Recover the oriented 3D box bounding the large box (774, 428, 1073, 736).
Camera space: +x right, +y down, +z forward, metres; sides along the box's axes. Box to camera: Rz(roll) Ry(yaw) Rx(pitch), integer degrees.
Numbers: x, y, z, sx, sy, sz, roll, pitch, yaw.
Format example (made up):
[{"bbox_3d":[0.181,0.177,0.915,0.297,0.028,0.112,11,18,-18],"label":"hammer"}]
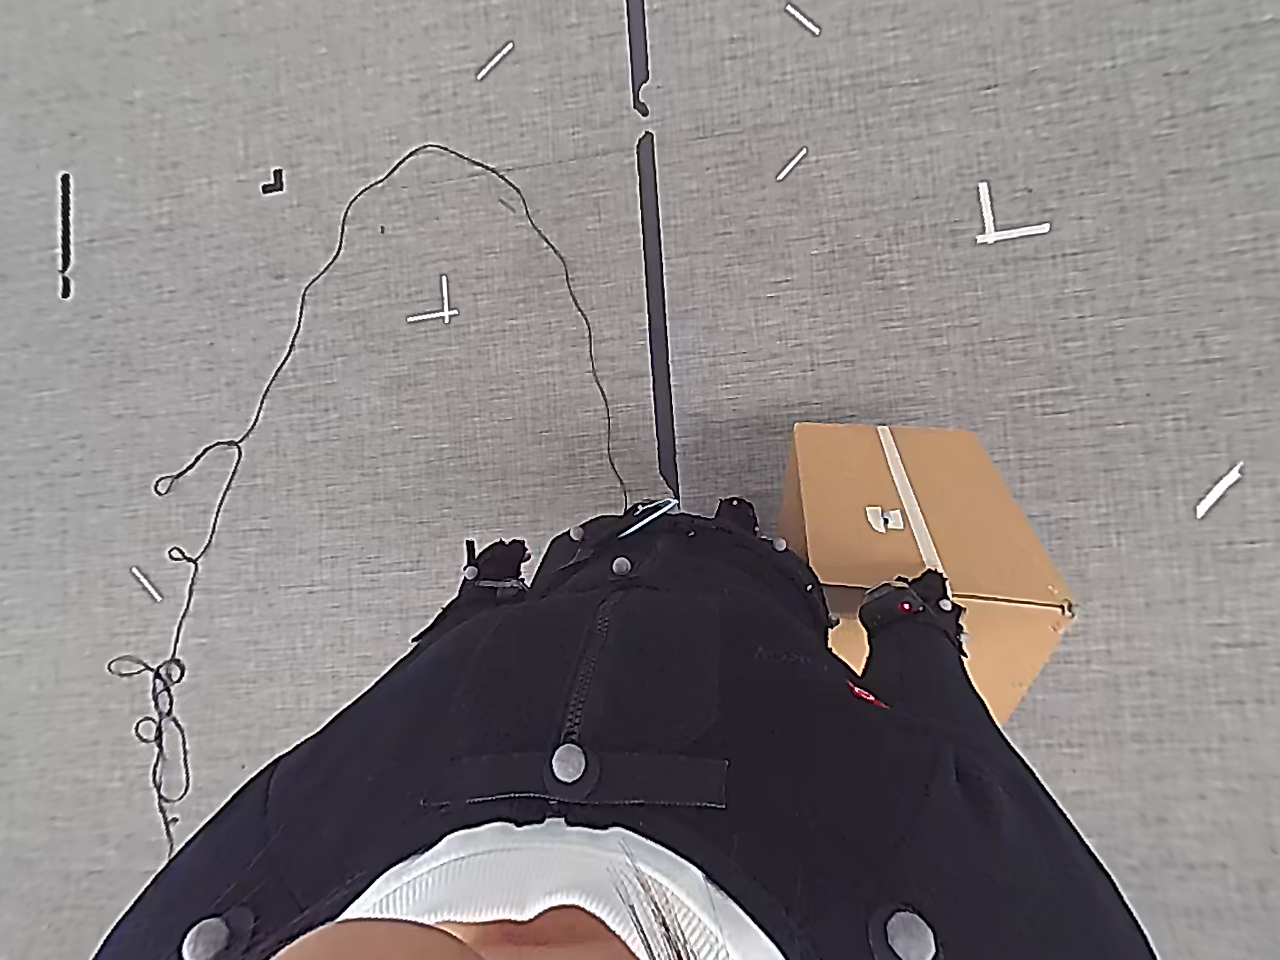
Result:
[{"bbox_3d":[0.411,0.151,0.923,0.320,0.408,0.320,3,128,9],"label":"large box"}]
